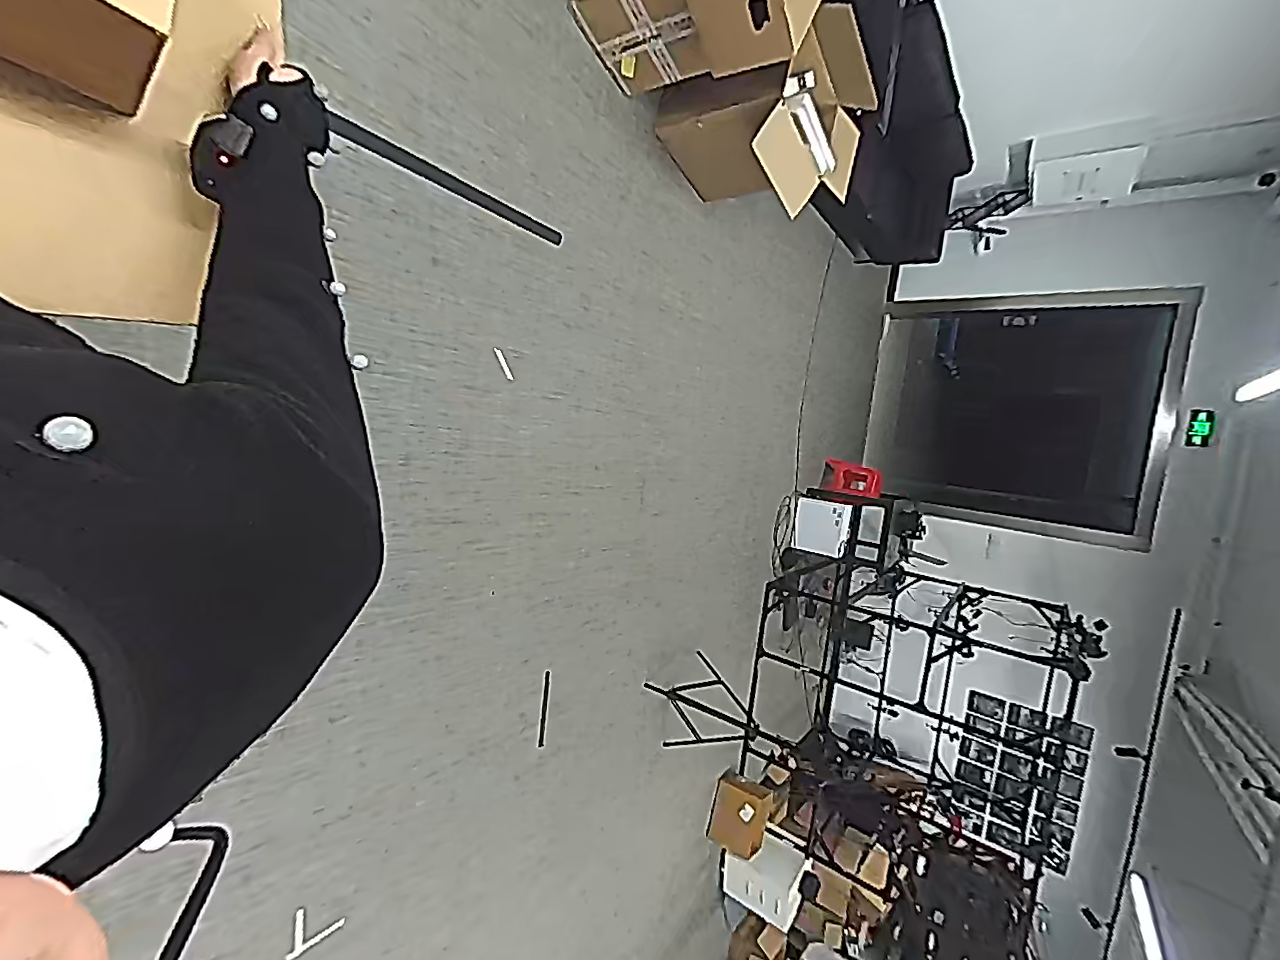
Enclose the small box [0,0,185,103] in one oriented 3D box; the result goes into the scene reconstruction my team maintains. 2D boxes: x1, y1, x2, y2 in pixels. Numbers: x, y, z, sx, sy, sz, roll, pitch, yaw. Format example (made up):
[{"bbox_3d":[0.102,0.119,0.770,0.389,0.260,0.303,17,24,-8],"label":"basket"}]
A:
[{"bbox_3d":[-0.436,-0.414,0.380,0.179,0.176,0.168,9,89,-49],"label":"small box"}]
